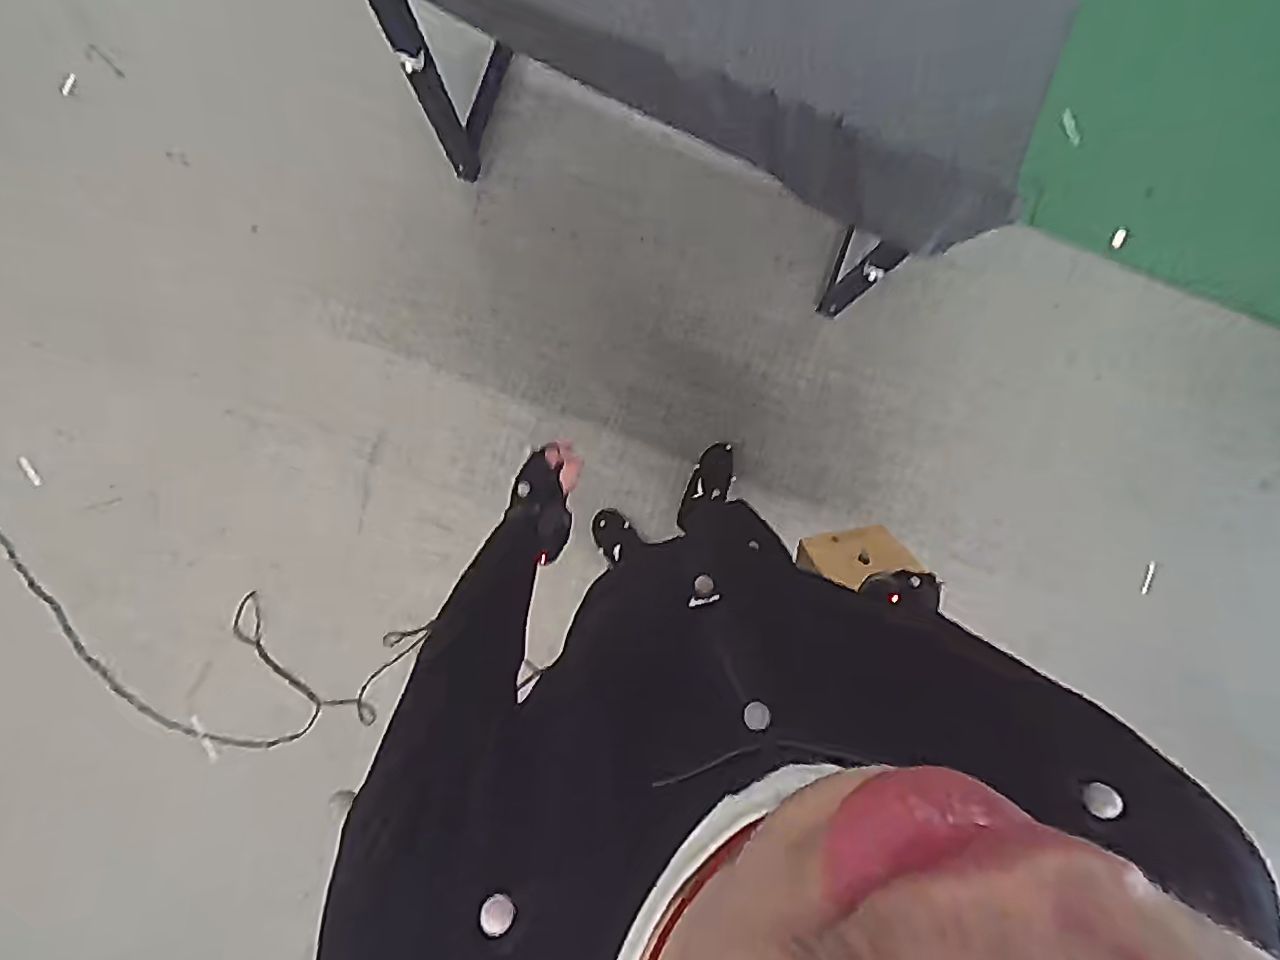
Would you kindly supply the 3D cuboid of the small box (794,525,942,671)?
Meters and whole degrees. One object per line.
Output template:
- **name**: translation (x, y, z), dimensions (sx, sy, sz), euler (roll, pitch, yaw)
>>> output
- **small box**: translation (0.387, 0.198, 0.953), dimensions (0.168, 0.176, 0.179), euler (-14, 129, -7)
